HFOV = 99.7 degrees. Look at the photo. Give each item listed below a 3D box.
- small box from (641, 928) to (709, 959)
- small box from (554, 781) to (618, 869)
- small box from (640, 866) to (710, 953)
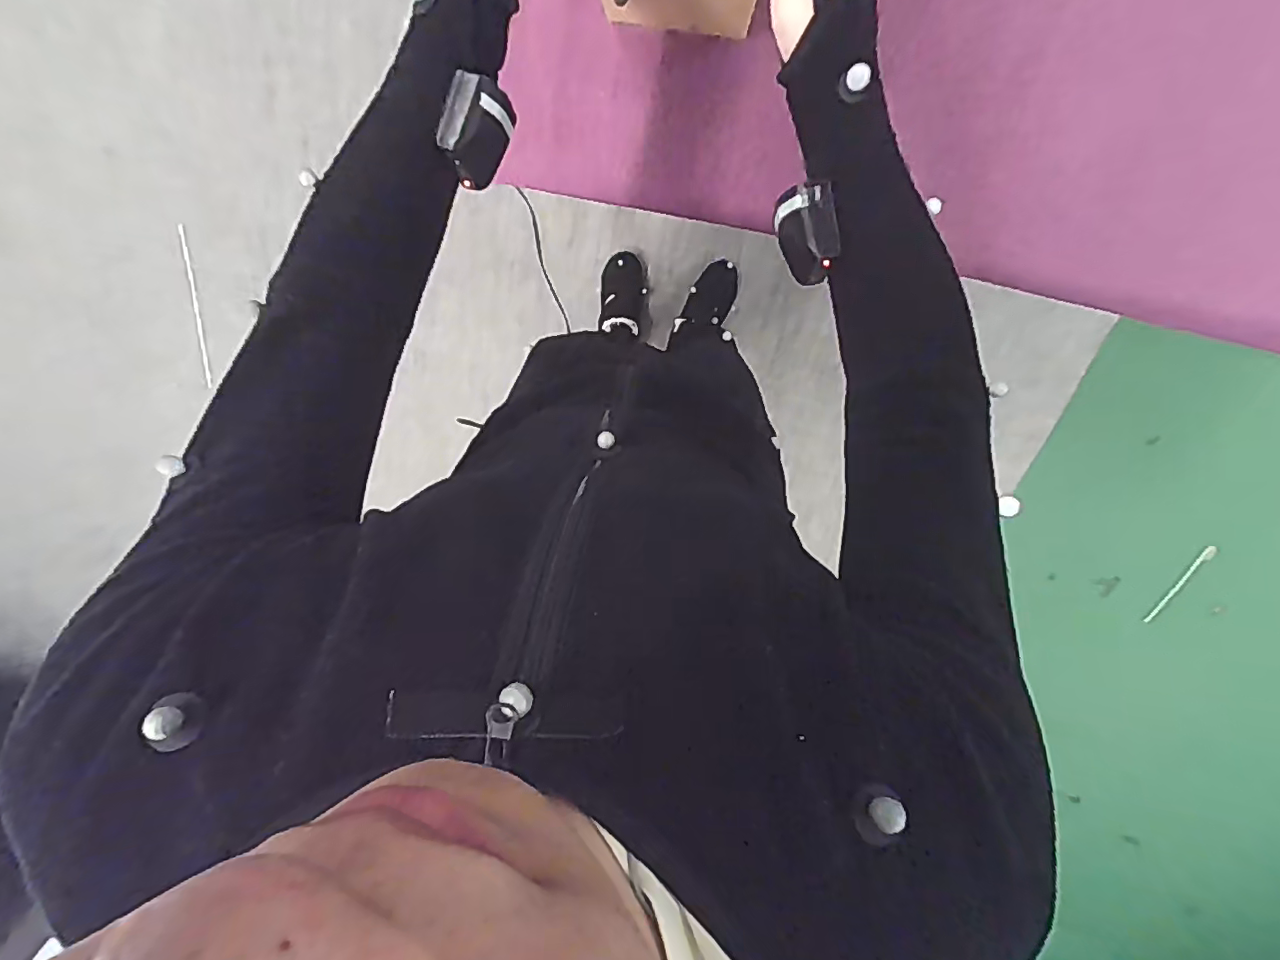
[{"bbox_3d":[0.094,1.402,1.508,0.168,0.176,0.179,17,116,-4],"label":"small box"},{"bbox_3d":[-0.169,1.107,1.741,0.168,0.176,0.179,13,118,-2],"label":"small box"},{"bbox_3d":[0.108,1.330,1.652,0.168,0.176,0.179,16,117,-5],"label":"small box"}]
